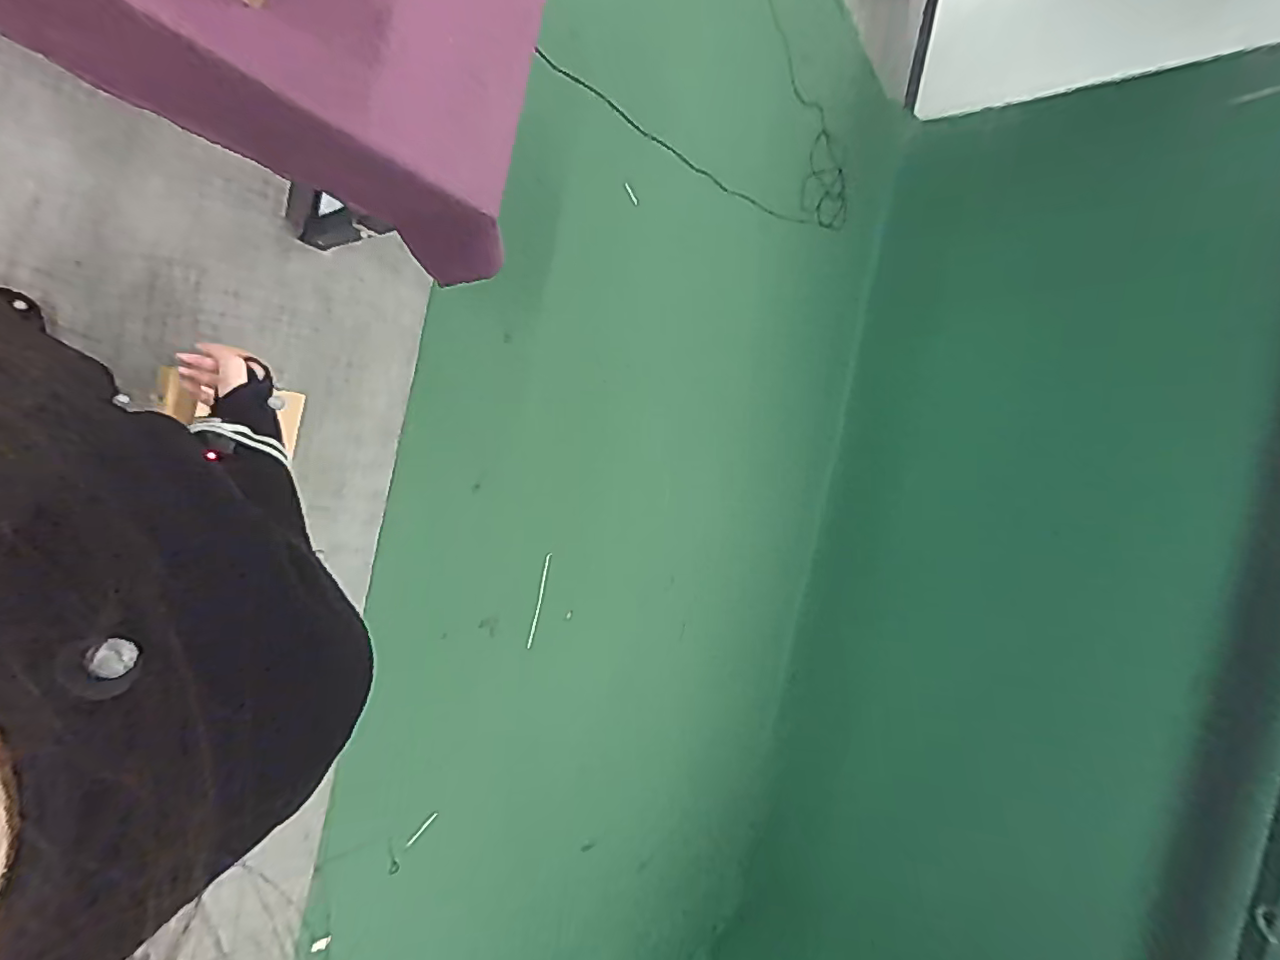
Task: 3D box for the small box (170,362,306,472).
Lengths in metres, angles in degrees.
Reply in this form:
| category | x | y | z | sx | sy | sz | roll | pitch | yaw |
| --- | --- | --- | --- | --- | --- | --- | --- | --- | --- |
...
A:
| category | x | y | z | sx | sy | sz | roll | pitch | yaw |
| --- | --- | --- | --- | --- | --- | --- | --- | --- | --- |
| small box | -0.794 | -0.124 | 1.065 | 0.168 | 0.176 | 0.179 | 11 | 92 | -52 |

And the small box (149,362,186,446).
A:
| category | x | y | z | sx | sy | sz | roll | pitch | yaw |
| --- | --- | --- | --- | --- | --- | --- | --- | --- | --- |
| small box | -0.922 | -0.154 | 1.162 | 0.179 | 0.176 | 0.168 | 7 | 95 | -51 |
